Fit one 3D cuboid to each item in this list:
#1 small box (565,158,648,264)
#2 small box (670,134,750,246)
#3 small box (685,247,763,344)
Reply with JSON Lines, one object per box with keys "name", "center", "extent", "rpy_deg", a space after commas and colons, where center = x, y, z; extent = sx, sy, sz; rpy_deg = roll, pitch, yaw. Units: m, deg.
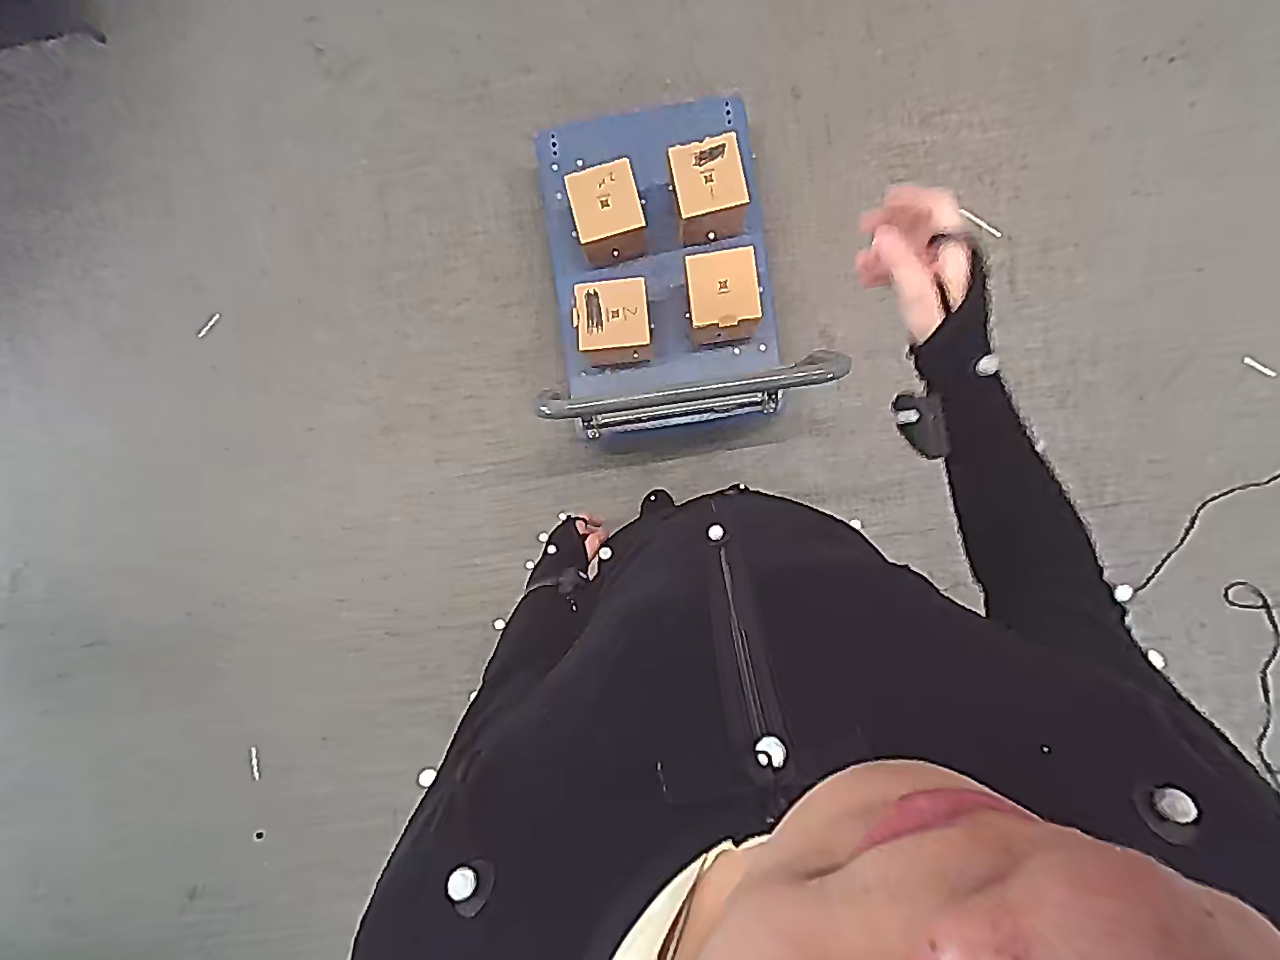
{"name": "small box", "center": [-0.079, -0.675, 1.385], "extent": [0.168, 0.176, 0.179], "rpy_deg": [-14, 89, 3]}
{"name": "small box", "center": [0.171, -0.726, 1.370], "extent": [0.168, 0.176, 0.179], "rpy_deg": [-12, 90, 4]}
{"name": "small box", "center": [0.206, -0.460, 1.369], "extent": [0.168, 0.176, 0.179], "rpy_deg": [-7, 90, 4]}
